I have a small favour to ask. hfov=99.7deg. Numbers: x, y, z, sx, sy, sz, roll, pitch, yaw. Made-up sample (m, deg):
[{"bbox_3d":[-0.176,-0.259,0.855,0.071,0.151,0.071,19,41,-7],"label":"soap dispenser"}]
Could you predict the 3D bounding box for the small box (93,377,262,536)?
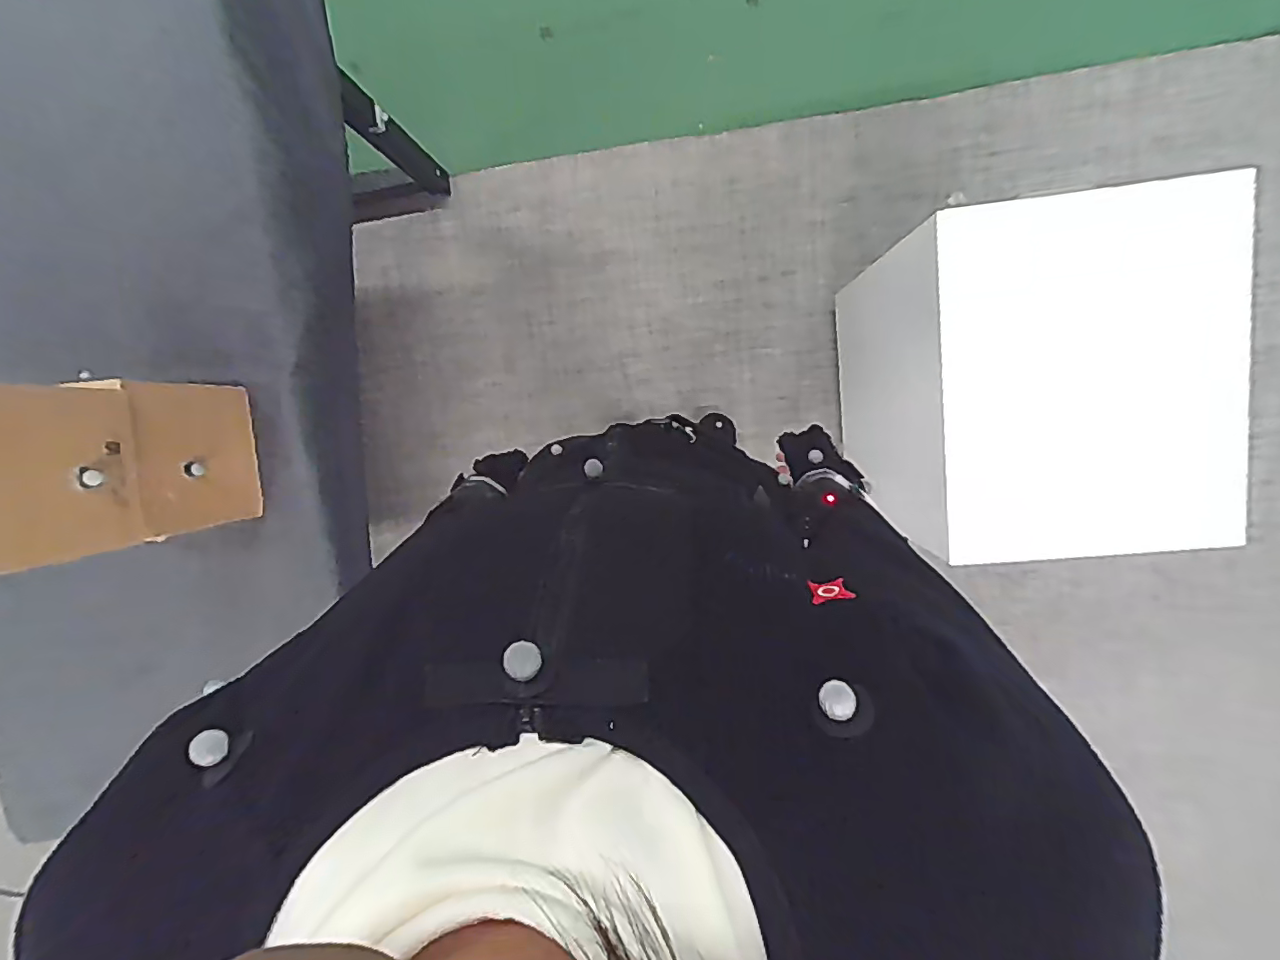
[{"bbox_3d":[-0.612,-0.034,0.673,0.168,0.176,0.179,-3,97,7],"label":"small box"}]
